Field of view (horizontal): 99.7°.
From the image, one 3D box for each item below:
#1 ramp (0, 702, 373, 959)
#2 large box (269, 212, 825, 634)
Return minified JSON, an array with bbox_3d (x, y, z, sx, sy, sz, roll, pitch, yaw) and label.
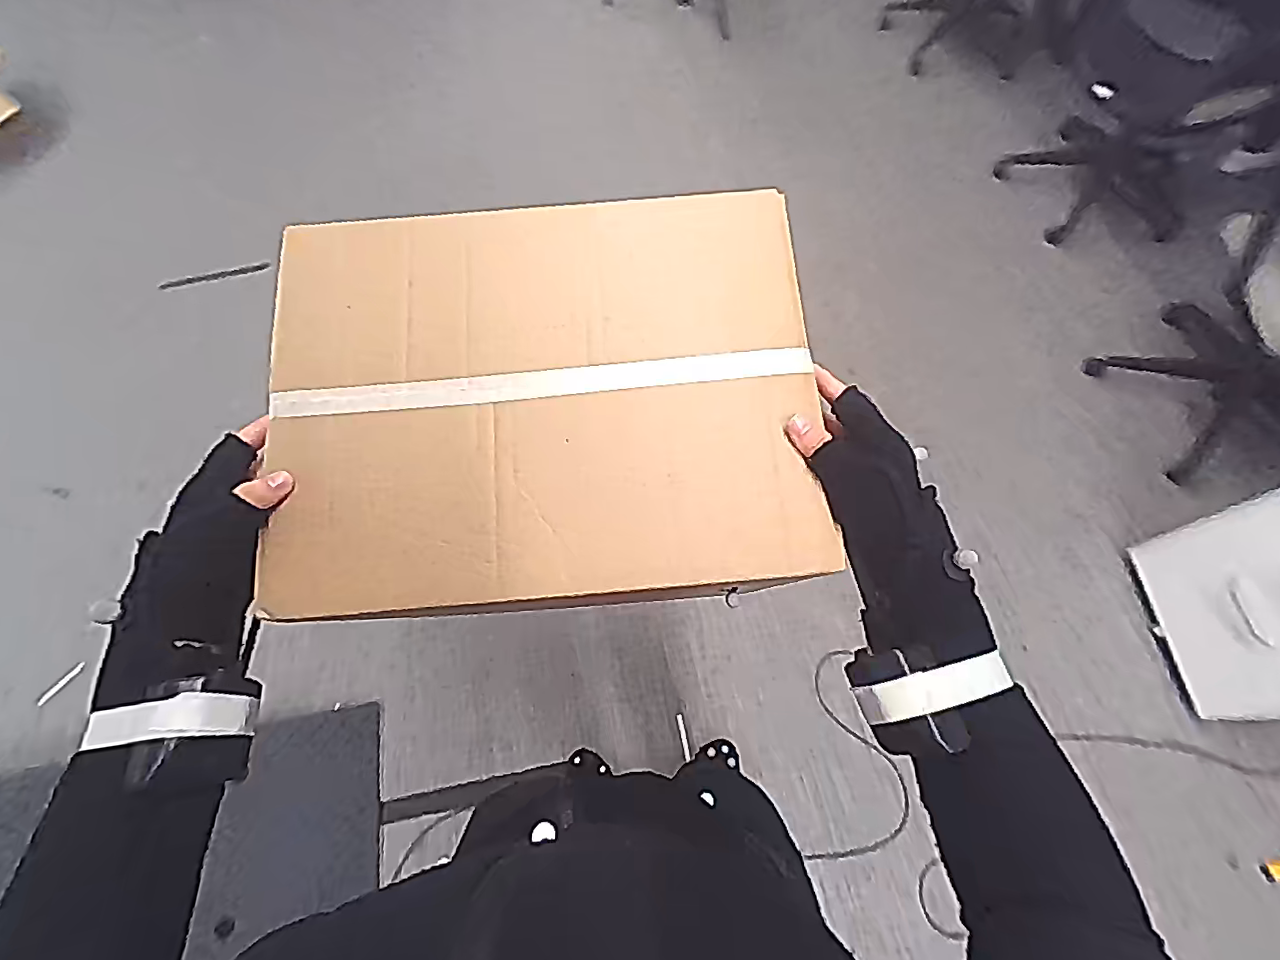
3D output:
[{"bbox_3d":[-1.100,0.815,1.135,0.991,0.206,0.509,-12,64,-5],"label":"ramp"},{"bbox_3d":[-0.077,-0.026,0.561,0.408,0.320,0.320,-5,76,-1],"label":"large box"}]
